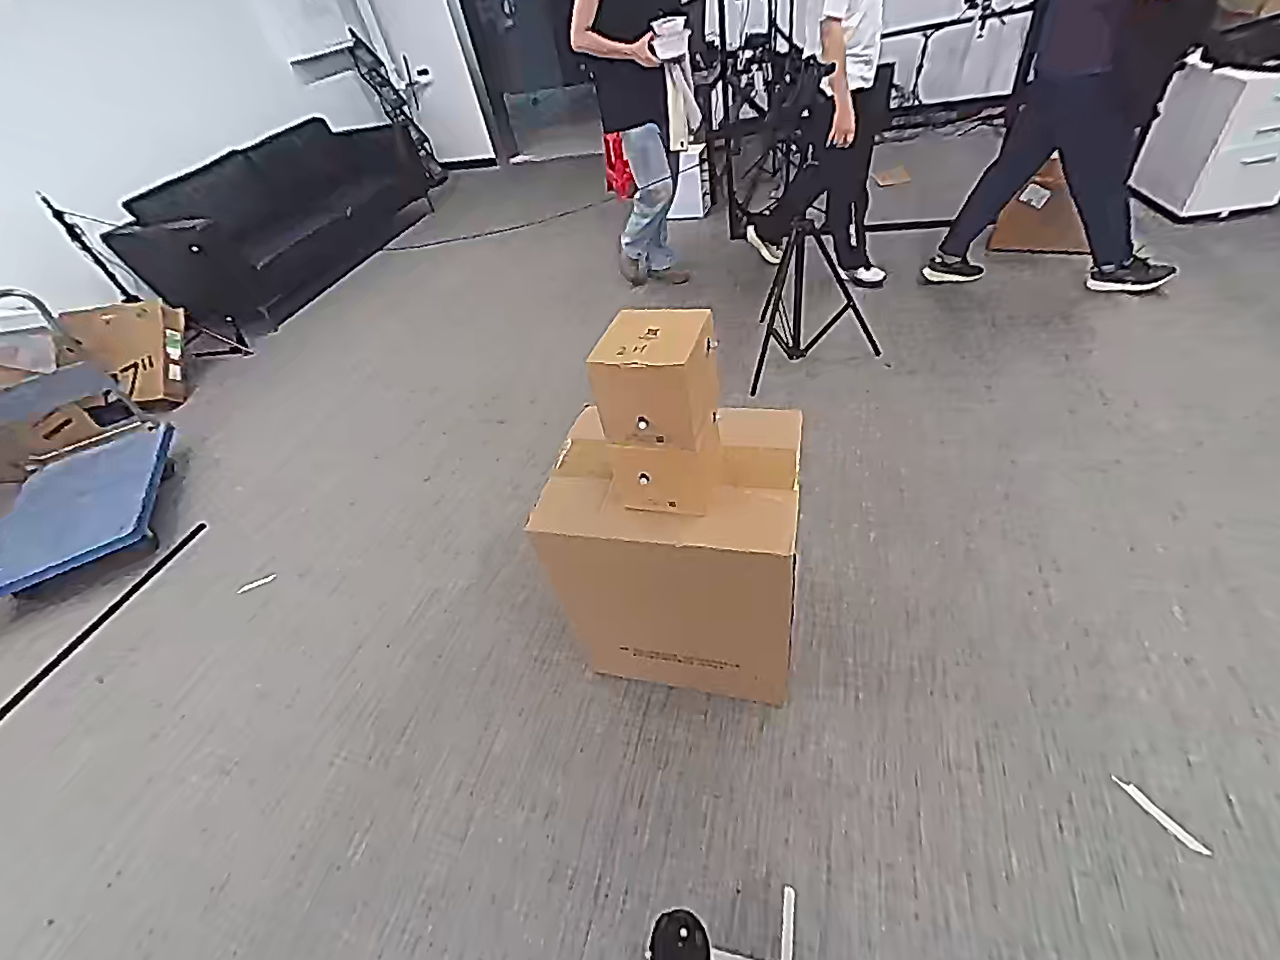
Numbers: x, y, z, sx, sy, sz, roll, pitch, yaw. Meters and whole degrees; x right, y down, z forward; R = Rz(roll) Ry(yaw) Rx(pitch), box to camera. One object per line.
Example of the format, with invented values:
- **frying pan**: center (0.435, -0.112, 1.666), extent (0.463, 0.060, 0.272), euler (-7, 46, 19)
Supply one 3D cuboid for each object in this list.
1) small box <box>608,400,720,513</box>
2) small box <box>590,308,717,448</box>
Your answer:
- **small box**: center (0.057, -0.055, 1.037), extent (0.168, 0.176, 0.179), euler (5, 45, 18)
- **small box**: center (0.034, -0.178, 0.929), extent (0.168, 0.176, 0.179), euler (6, 46, 20)
